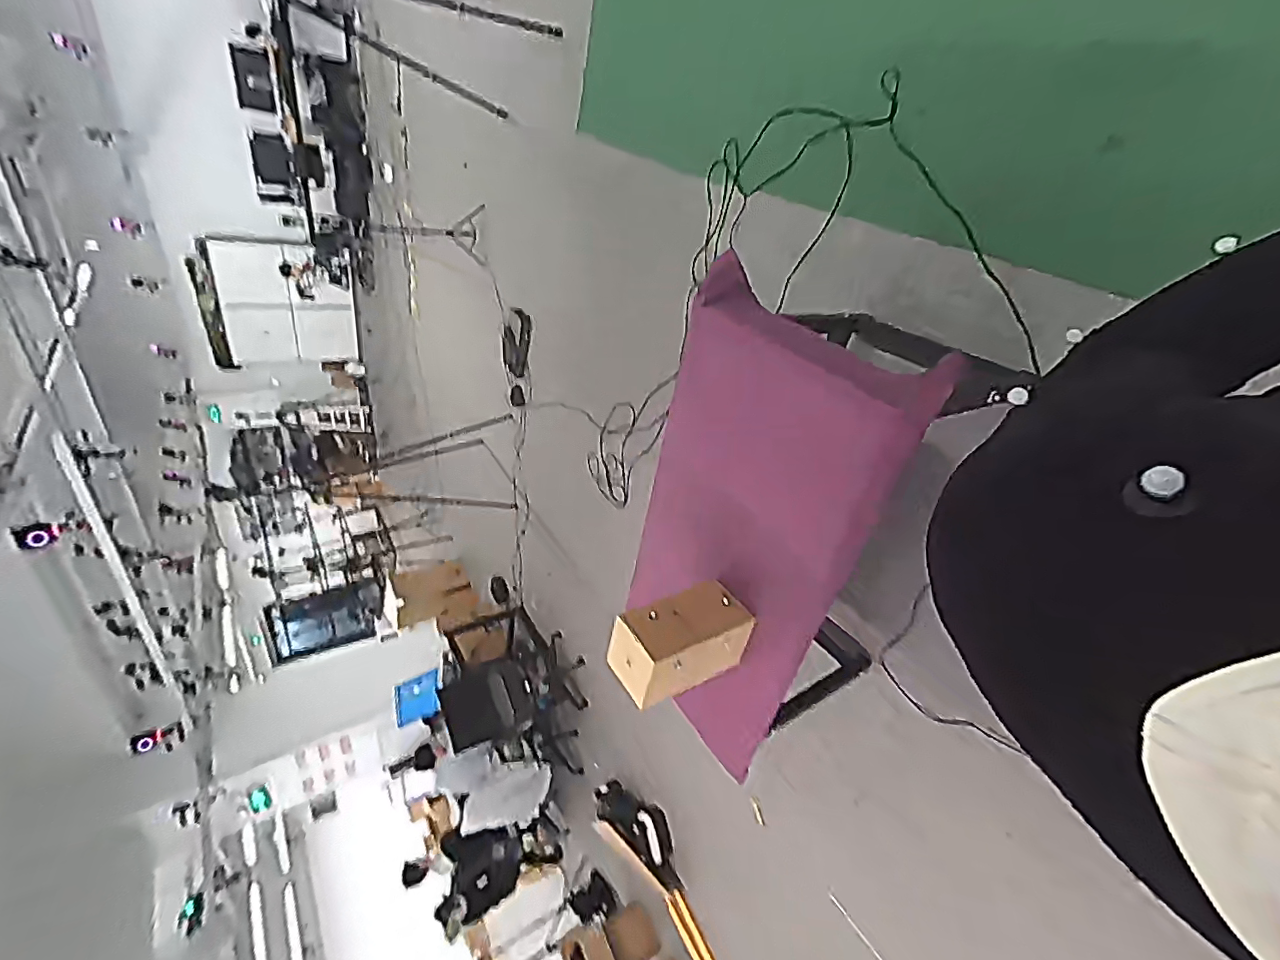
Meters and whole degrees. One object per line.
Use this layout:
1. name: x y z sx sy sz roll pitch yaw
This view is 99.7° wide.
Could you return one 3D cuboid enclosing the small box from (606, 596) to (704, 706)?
1. small box: 0.039 0.419 1.353 0.168 0.176 0.179 45 134 41
